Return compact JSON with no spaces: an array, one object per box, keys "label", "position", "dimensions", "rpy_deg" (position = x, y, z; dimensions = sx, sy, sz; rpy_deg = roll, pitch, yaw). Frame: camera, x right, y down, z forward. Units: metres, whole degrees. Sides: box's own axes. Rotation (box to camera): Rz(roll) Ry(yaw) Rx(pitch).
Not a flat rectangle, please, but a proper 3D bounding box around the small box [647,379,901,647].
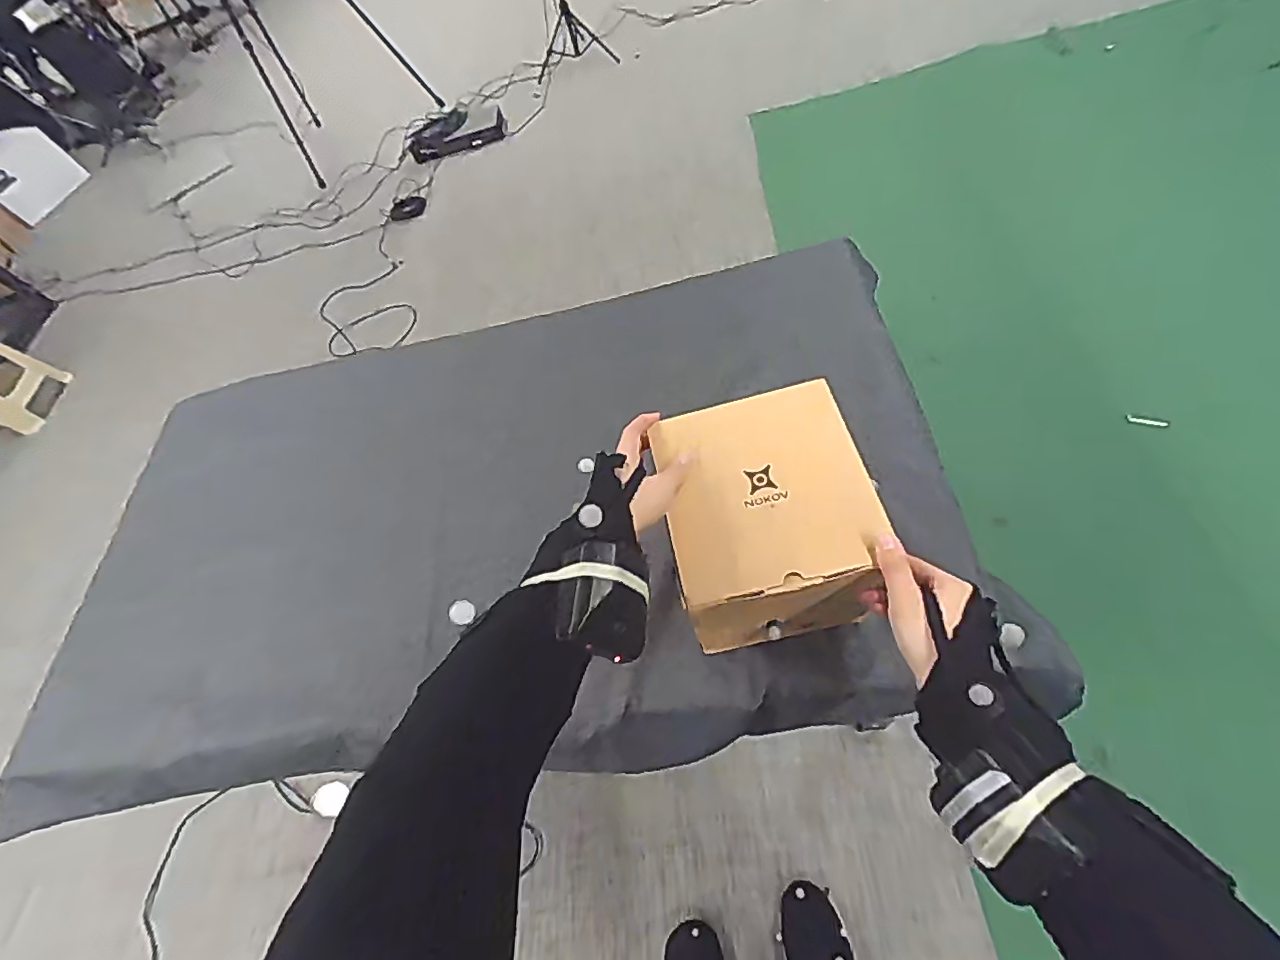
[{"label":"small box","position":[0.111,0.040,0.507],"dimensions":[0.168,0.176,0.179],"rpy_deg":[-14,61,4]}]
